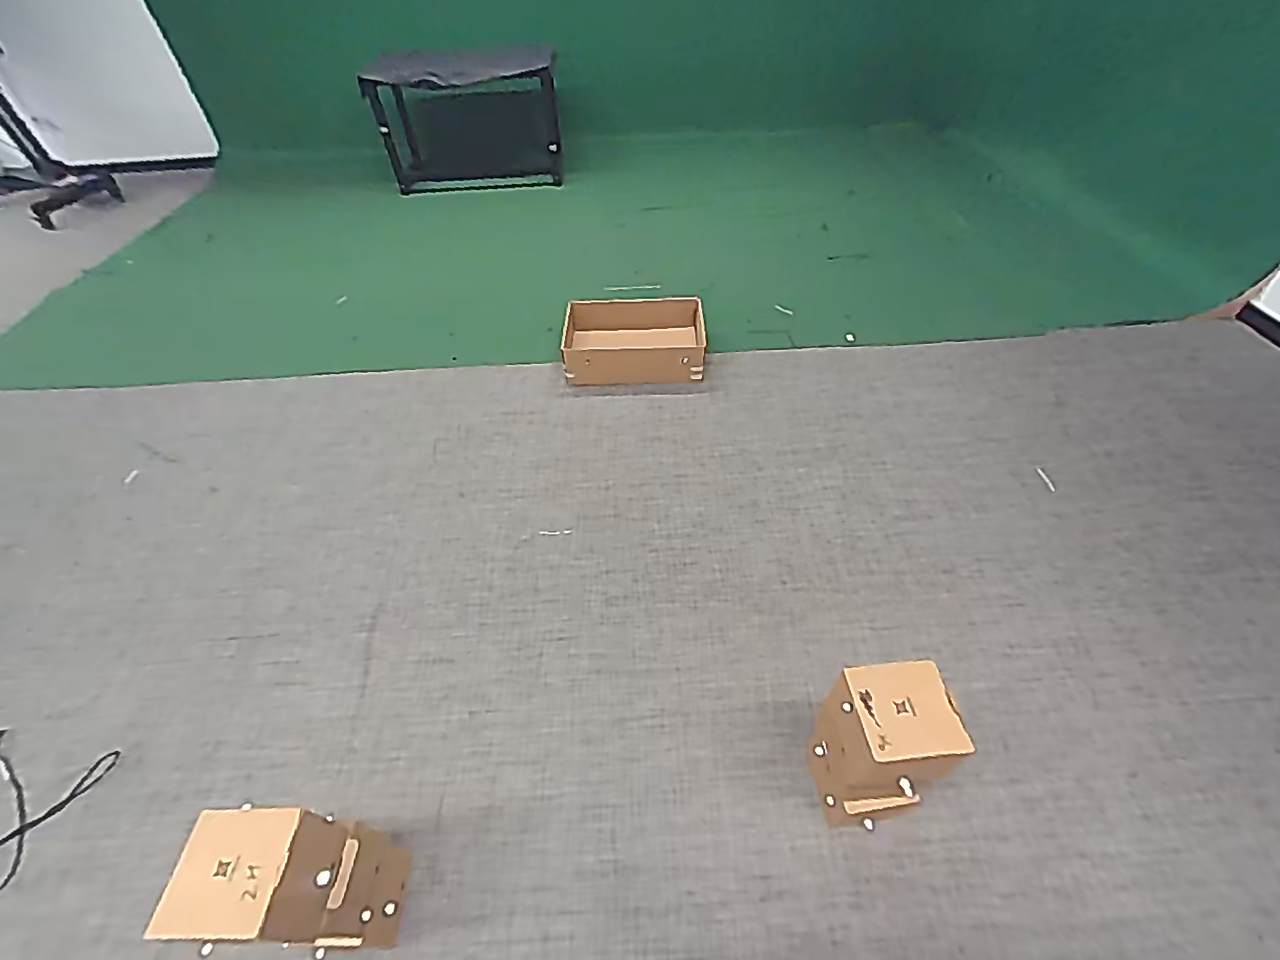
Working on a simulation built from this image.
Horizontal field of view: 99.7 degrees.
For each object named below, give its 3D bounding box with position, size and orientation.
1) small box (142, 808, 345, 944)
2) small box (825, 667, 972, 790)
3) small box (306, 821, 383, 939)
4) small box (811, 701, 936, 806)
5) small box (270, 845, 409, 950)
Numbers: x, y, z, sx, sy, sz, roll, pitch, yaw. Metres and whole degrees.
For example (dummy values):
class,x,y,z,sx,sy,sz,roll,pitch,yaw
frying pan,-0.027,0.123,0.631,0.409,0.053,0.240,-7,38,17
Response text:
class,x,y,z,sx,sy,sz,roll,pitch,yaw
small box,-0.631,0.652,0.889,0.179,0.176,0.168,-2,48,2
small box,0.472,0.470,1.020,0.179,0.176,0.168,-4,47,-2
small box,-0.619,0.753,1.019,0.179,0.176,0.168,-2,47,3
small box,0.483,0.575,1.146,0.179,0.176,0.168,-5,47,-1
small box,-0.612,0.873,1.132,0.179,0.176,0.168,-2,47,2
